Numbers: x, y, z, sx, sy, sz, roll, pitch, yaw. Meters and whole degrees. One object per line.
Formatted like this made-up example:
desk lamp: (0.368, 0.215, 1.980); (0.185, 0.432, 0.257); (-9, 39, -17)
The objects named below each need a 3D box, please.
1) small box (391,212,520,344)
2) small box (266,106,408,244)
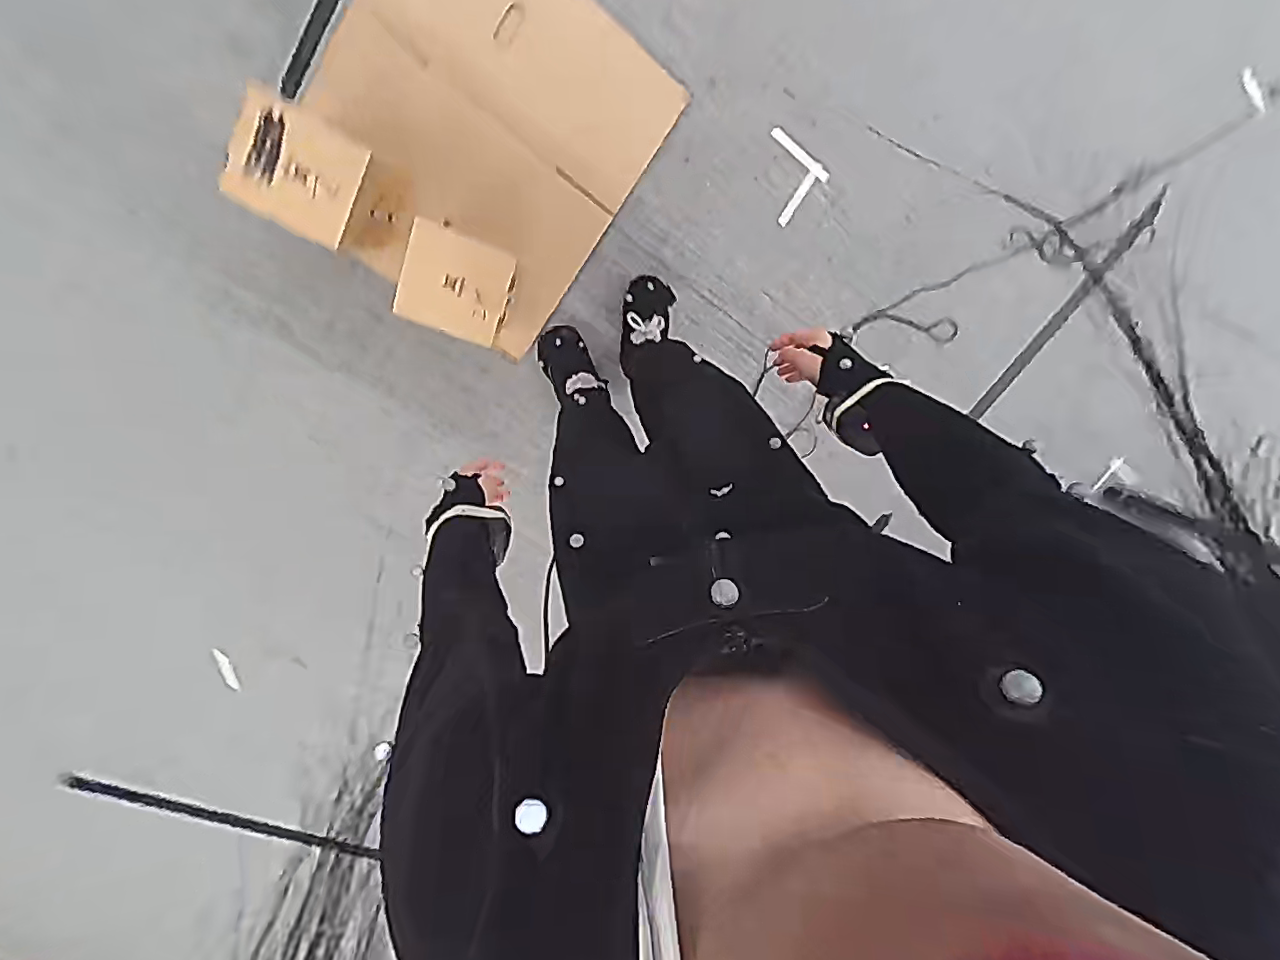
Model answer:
small box: (-0.329, -0.367, 0.993); (0.179, 0.176, 0.168); (17, 109, -18)
small box: (-0.573, -0.570, 1.043); (0.179, 0.176, 0.168); (21, 107, -19)
